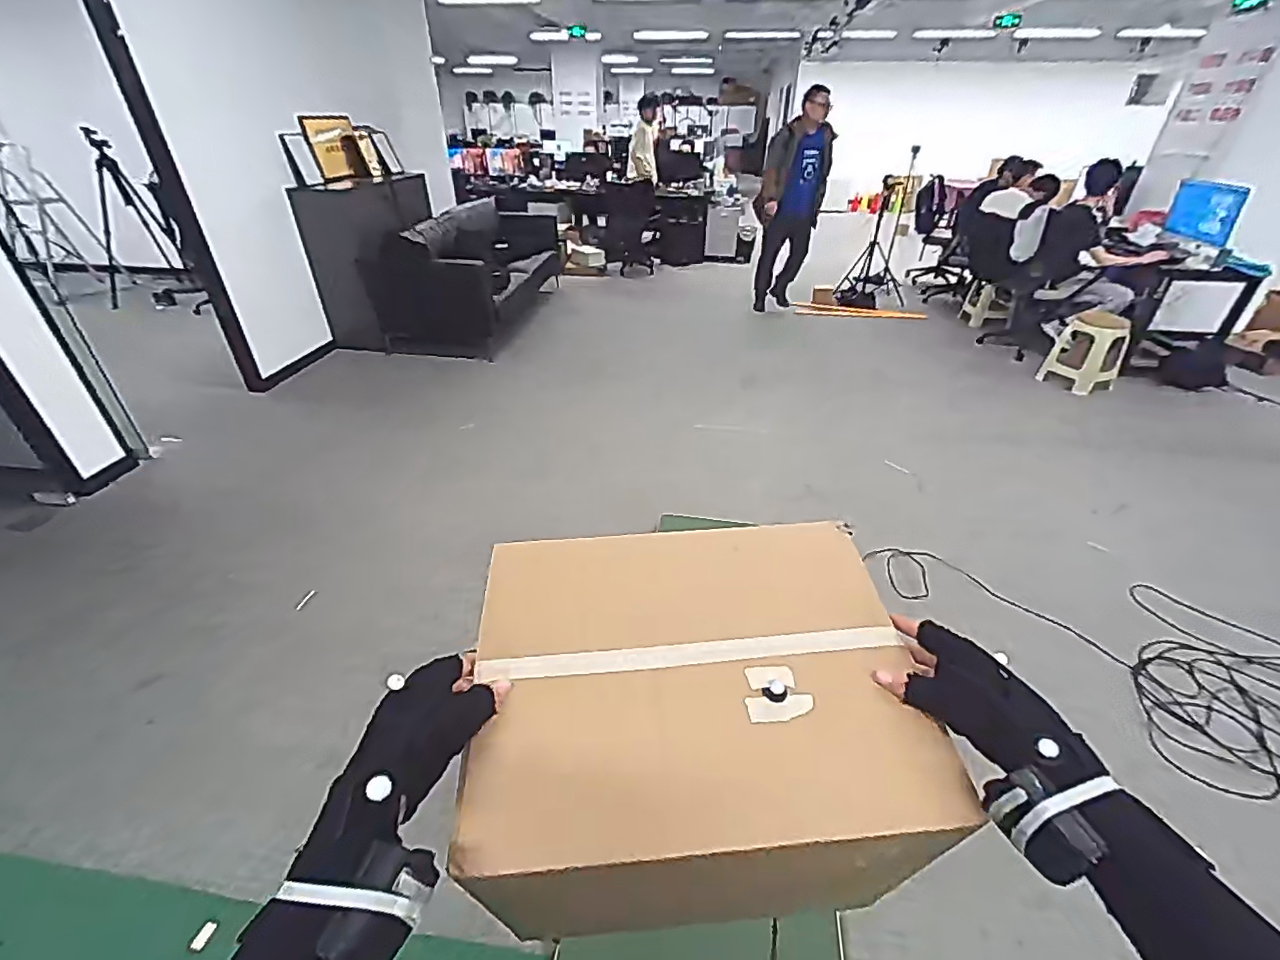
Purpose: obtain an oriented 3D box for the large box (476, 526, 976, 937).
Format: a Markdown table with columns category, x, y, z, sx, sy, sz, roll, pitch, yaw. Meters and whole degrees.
| category | x | y | z | sx | sy | sz | roll | pitch | yaw |
| --- | --- | --- | --- | --- | --- | --- | --- | --- | --- |
| large box | 0.056 | 0.280 | 0.622 | 0.408 | 0.320 | 0.320 | -3 | 43 | -4 |
